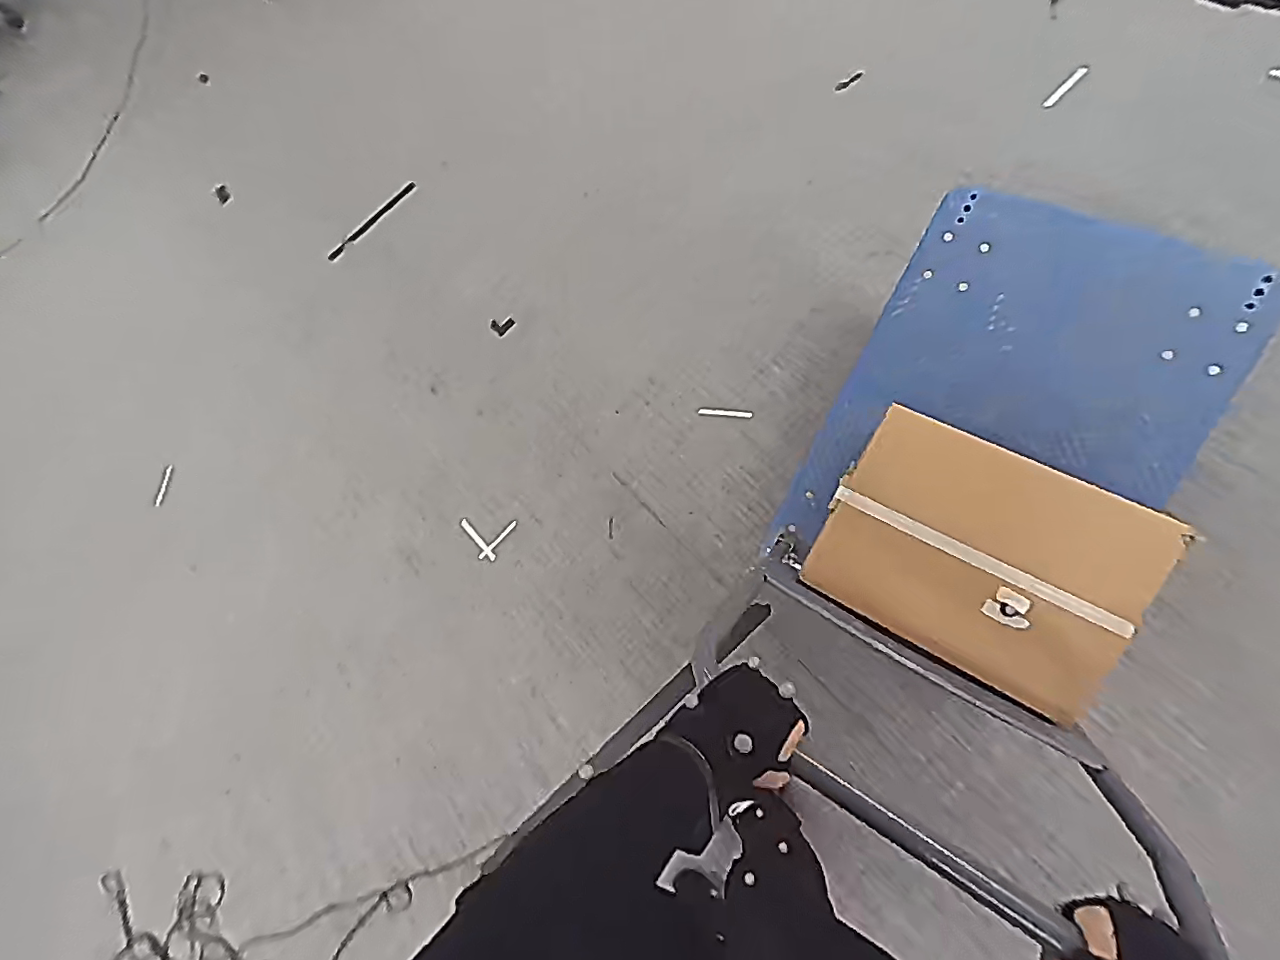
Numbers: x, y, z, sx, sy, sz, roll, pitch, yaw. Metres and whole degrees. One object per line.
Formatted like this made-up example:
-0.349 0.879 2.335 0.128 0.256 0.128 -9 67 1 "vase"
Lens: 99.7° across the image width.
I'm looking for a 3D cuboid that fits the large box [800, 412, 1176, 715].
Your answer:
0.535 0.117 0.940 0.408 0.320 0.320 28 98 18 "large box"
